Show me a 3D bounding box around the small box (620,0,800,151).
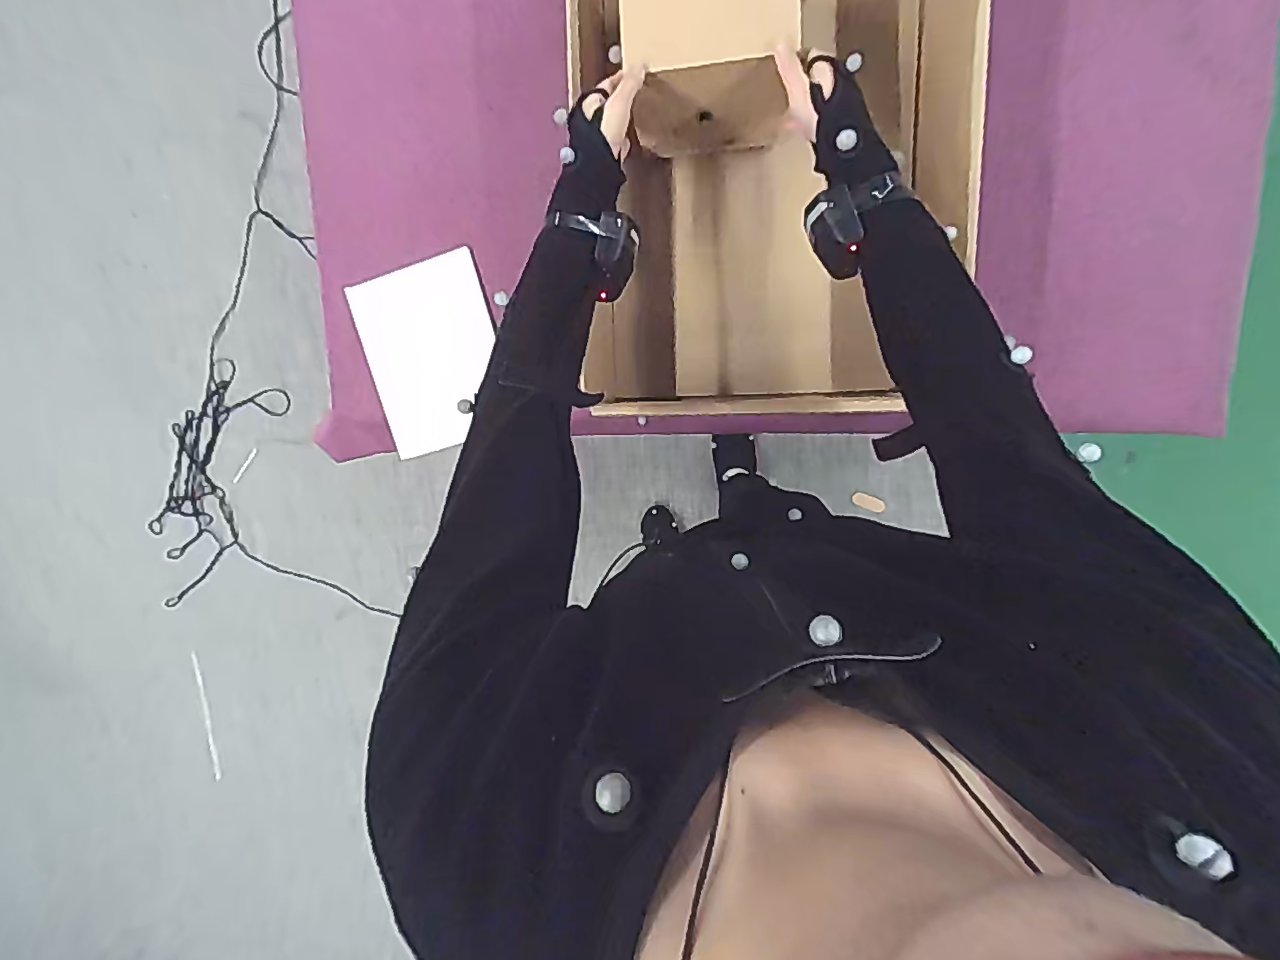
[{"bbox_3d":[0.073,-0.472,0.566,0.168,0.176,0.179,-1,96,8],"label":"small box"}]
